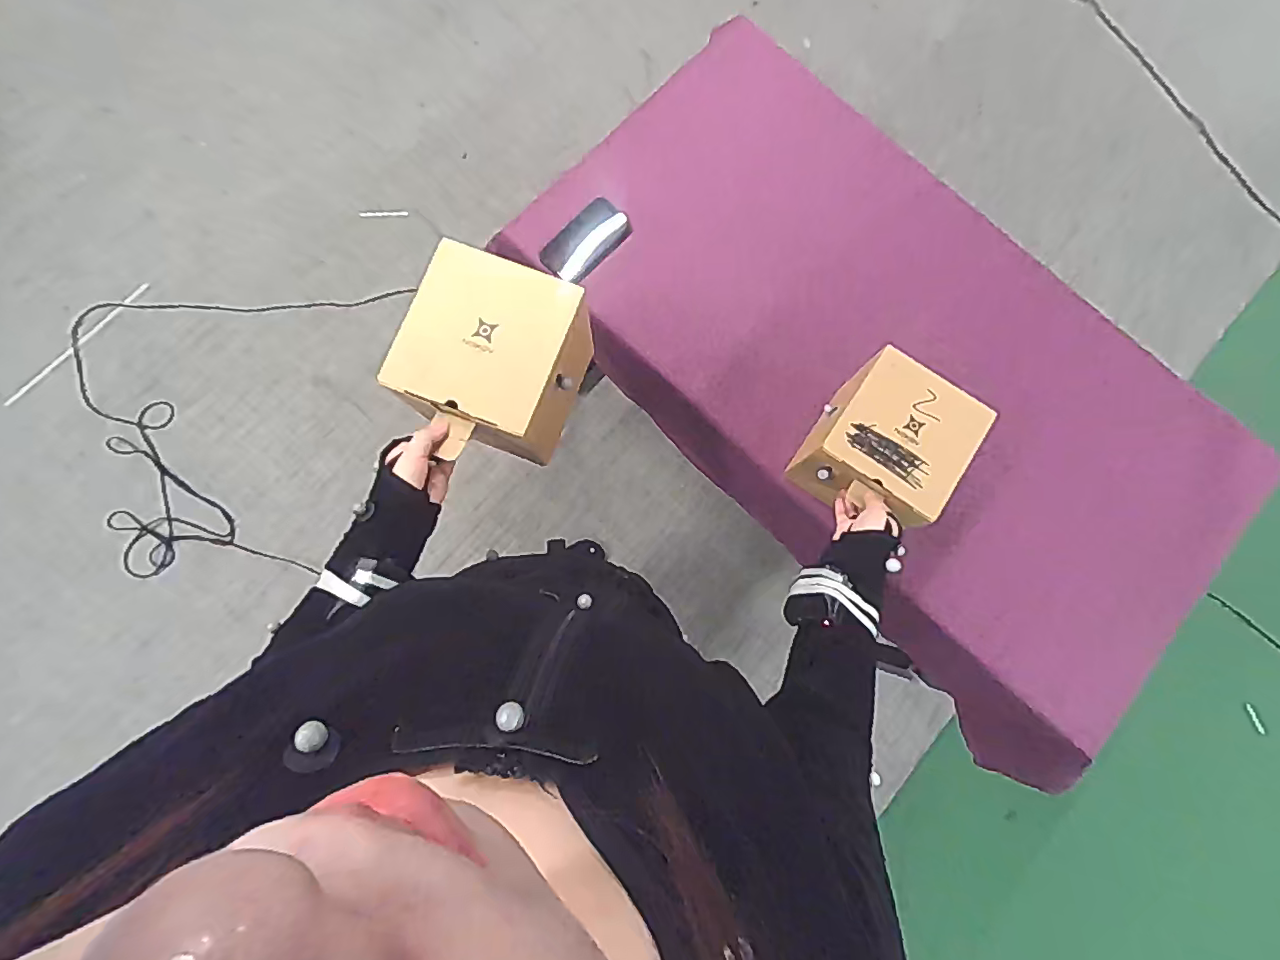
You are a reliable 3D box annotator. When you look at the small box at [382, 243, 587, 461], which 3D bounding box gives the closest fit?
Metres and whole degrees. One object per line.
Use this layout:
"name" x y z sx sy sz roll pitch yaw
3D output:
"small box" -0.169 -0.140 0.652 0.168 0.176 0.179 21 82 1
